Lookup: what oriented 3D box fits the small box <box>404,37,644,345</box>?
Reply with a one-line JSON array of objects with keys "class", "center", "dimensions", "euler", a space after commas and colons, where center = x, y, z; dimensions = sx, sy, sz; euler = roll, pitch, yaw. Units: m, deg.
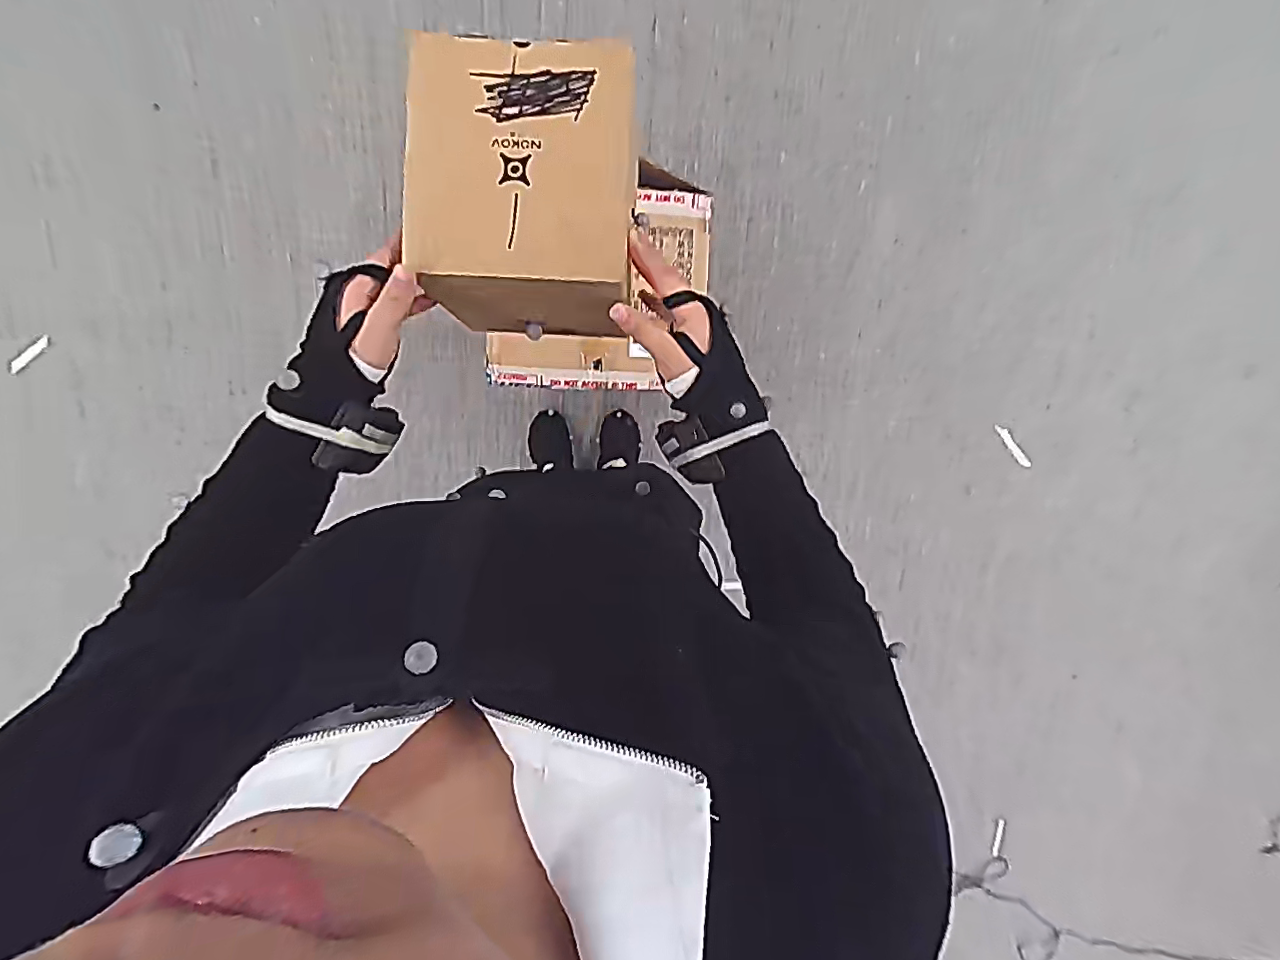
[{"class": "small box", "center": [-0.083, -0.229, 0.470], "dimensions": [0.168, 0.176, 0.179], "euler": [3, 91, 1]}]
